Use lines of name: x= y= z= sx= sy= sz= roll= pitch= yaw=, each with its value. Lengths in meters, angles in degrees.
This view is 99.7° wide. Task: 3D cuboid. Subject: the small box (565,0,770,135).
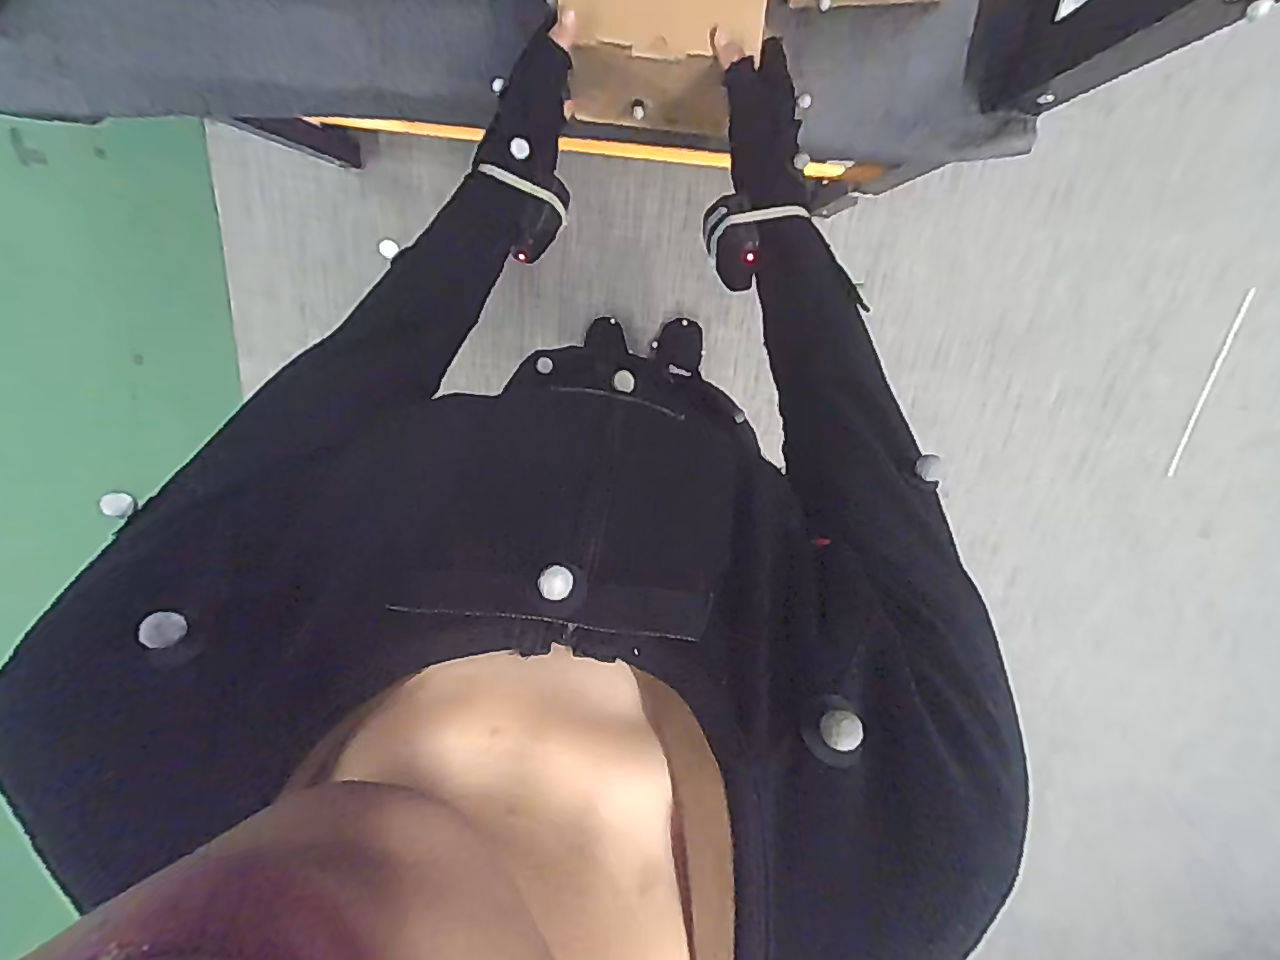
small box: x=0.027 y=-0.454 z=0.496 sx=0.168 sy=0.176 sz=0.179 roll=6 pitch=105 yaw=-3
